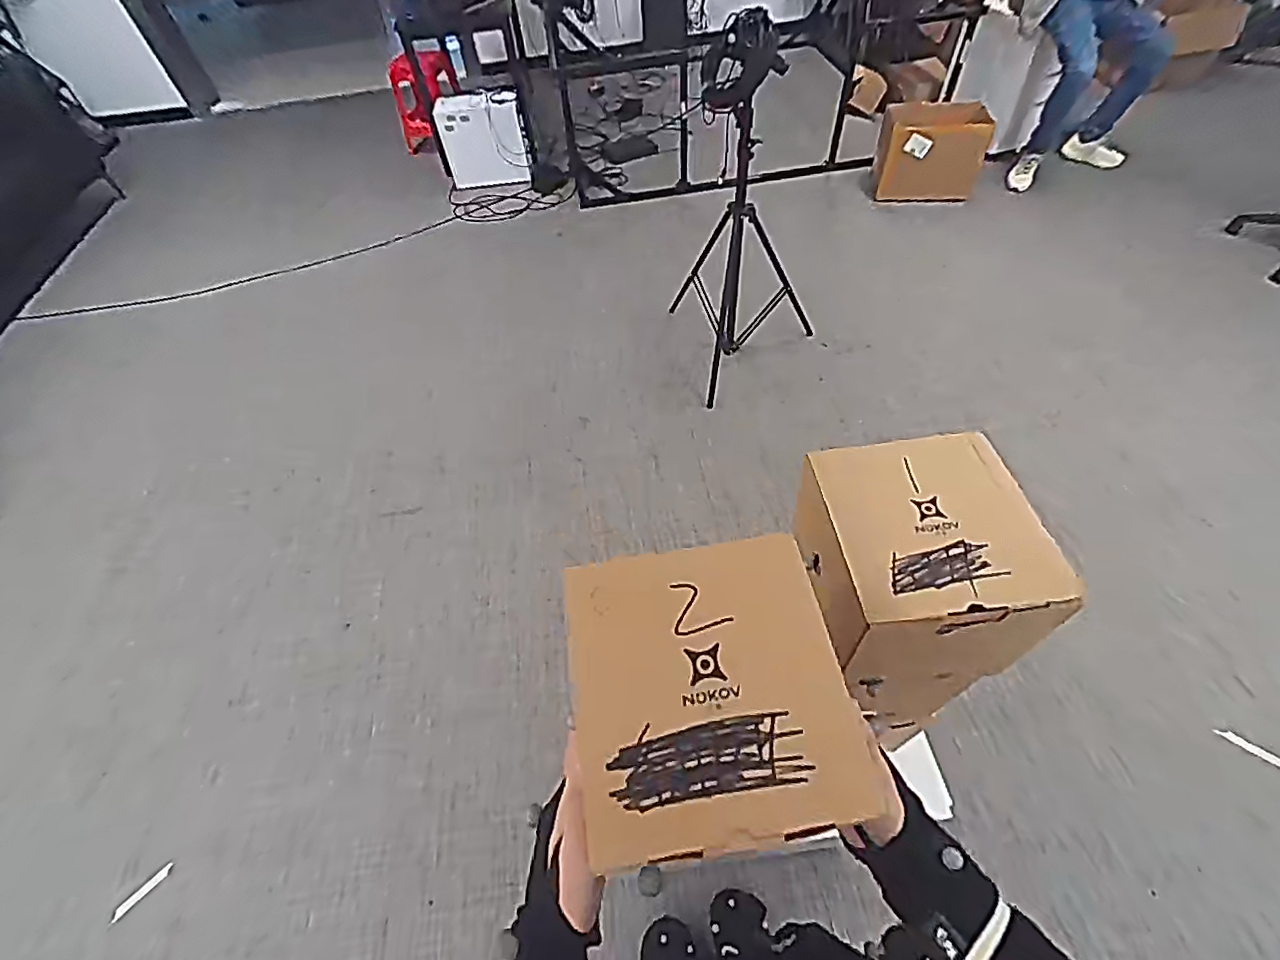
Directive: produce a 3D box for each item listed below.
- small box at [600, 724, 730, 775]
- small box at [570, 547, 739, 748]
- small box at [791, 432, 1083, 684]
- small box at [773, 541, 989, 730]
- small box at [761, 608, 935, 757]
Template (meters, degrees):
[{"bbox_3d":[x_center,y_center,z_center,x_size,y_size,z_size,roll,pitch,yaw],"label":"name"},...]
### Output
[{"bbox_3d":[0.024,0.304,0.780,0.168,0.176,0.179,-10,53,-2],"label":"small box"},{"bbox_3d":[0.016,0.208,0.649,0.168,0.176,0.179,-9,52,-2],"label":"small box"},{"bbox_3d":[0.252,0.082,0.515,0.168,0.176,0.179,-7,51,2],"label":"small box"},{"bbox_3d":[0.264,0.179,0.647,0.168,0.176,0.179,-8,53,1],"label":"small box"},{"bbox_3d":[0.278,0.285,0.771,0.168,0.176,0.179,-8,54,0],"label":"small box"}]
